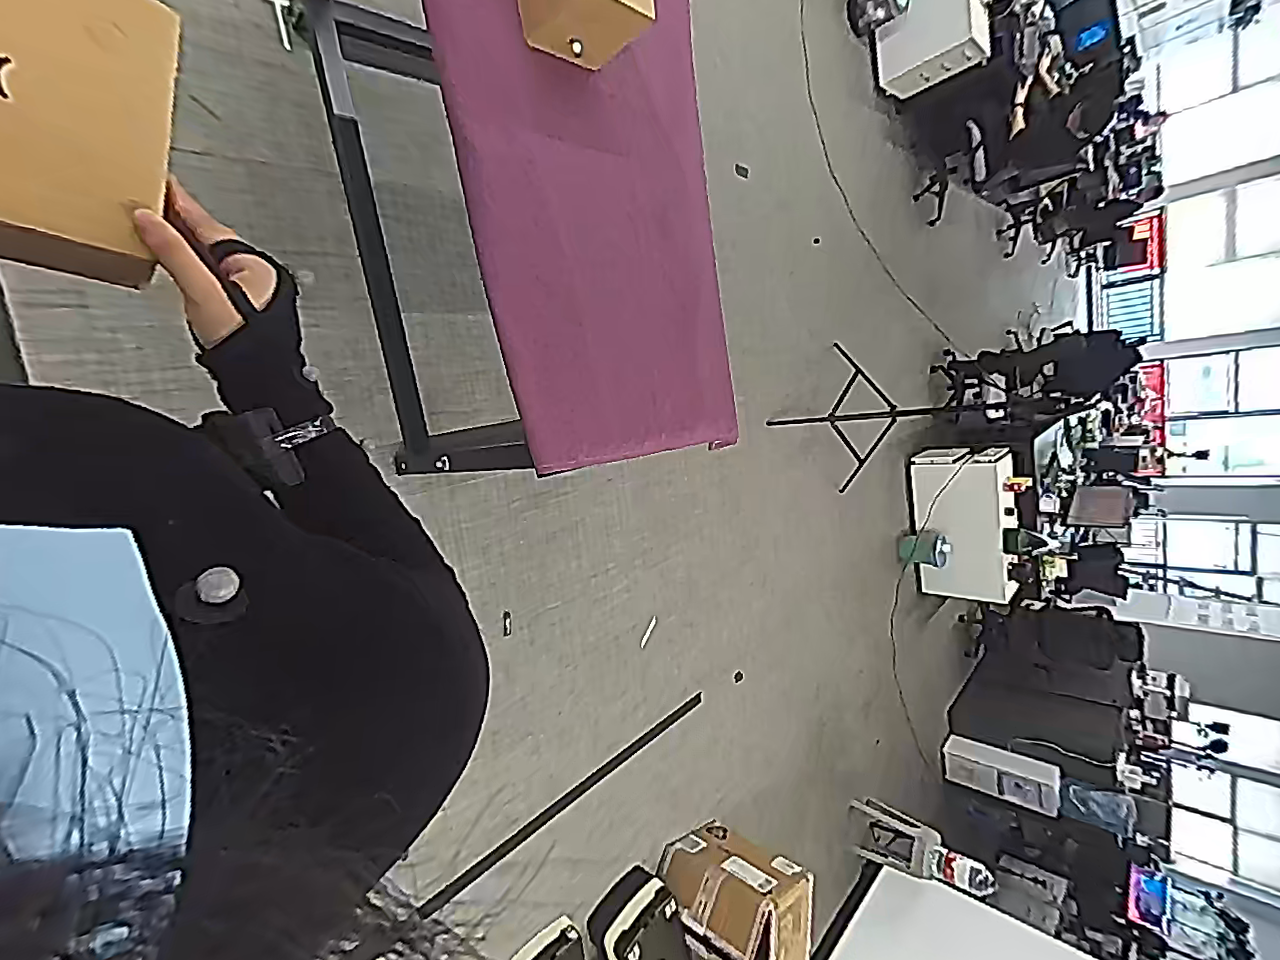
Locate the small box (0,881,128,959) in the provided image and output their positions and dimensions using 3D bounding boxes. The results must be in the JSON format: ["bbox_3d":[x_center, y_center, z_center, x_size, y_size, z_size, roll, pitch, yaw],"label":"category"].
[{"bbox_3d":[-1.043,0.862,0.956,0.168,0.176,0.179,-21,105,-42],"label":"small box"}]

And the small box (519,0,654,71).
[{"bbox_3d":[-0.101,-0.861,0.929,0.168,0.176,0.179,-16,102,-43],"label":"small box"}]

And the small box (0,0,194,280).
[{"bbox_3d":[-0.428,-0.245,0.363,0.179,0.176,0.168,6,94,-44],"label":"small box"}]
